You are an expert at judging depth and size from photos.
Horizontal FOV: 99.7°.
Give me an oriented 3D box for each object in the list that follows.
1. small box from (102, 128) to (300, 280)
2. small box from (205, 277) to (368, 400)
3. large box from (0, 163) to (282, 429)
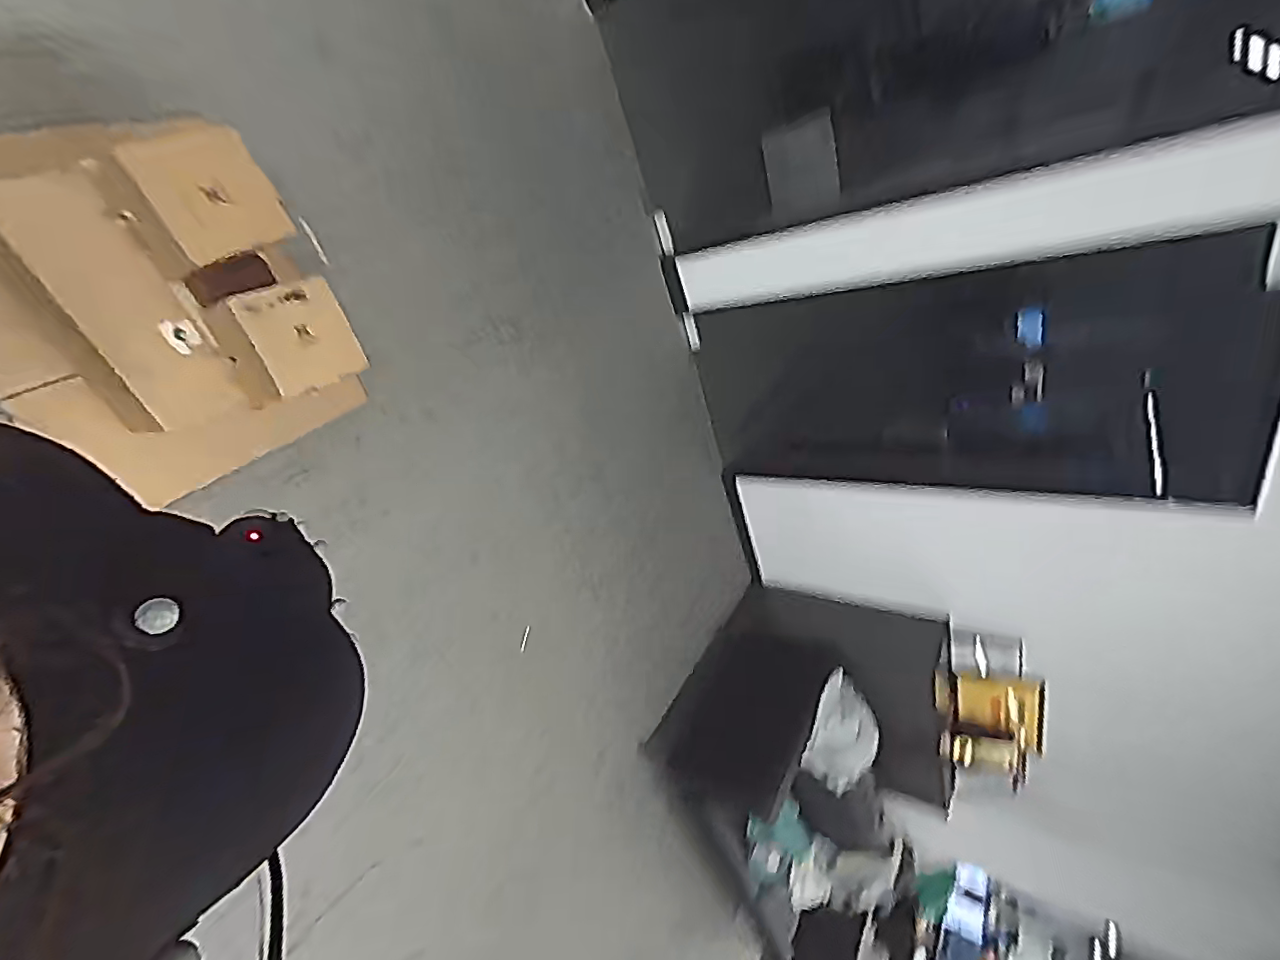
[{"bbox_3d":[-0.720,-0.449,0.890,0.179,0.176,0.168,-48,128,-38],"label":"small box"},{"bbox_3d":[-0.649,-0.256,0.996,0.168,0.176,0.179,-40,123,-42],"label":"small box"},{"bbox_3d":[-0.920,-0.345,1.040,0.320,0.320,0.408,-46,128,-38],"label":"large box"}]
